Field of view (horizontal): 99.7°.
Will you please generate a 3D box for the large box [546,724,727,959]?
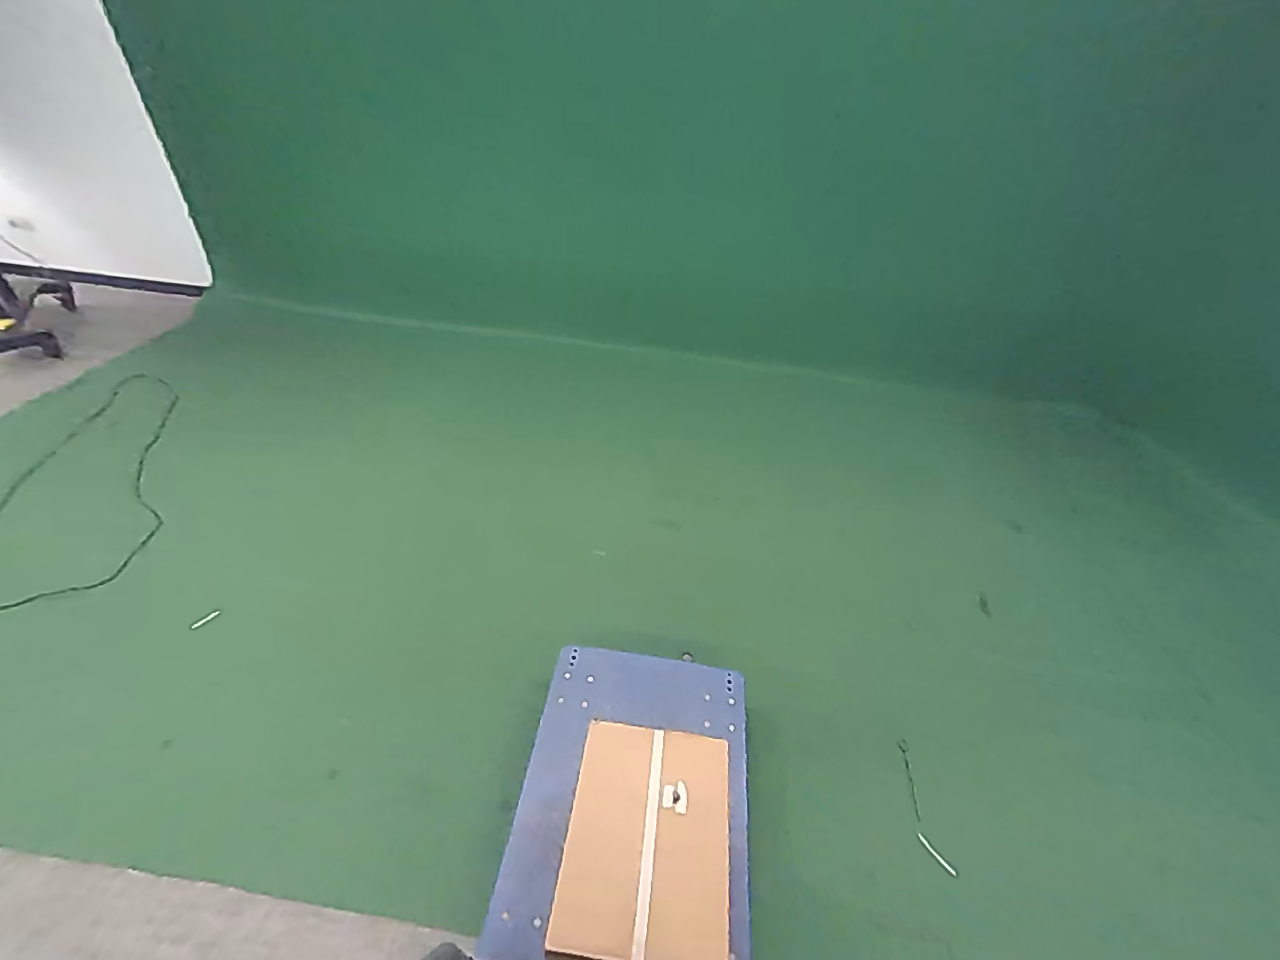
[{"bbox_3d":[-0.001,0.803,1.143,0.320,0.320,0.408,8,38,2],"label":"large box"}]
